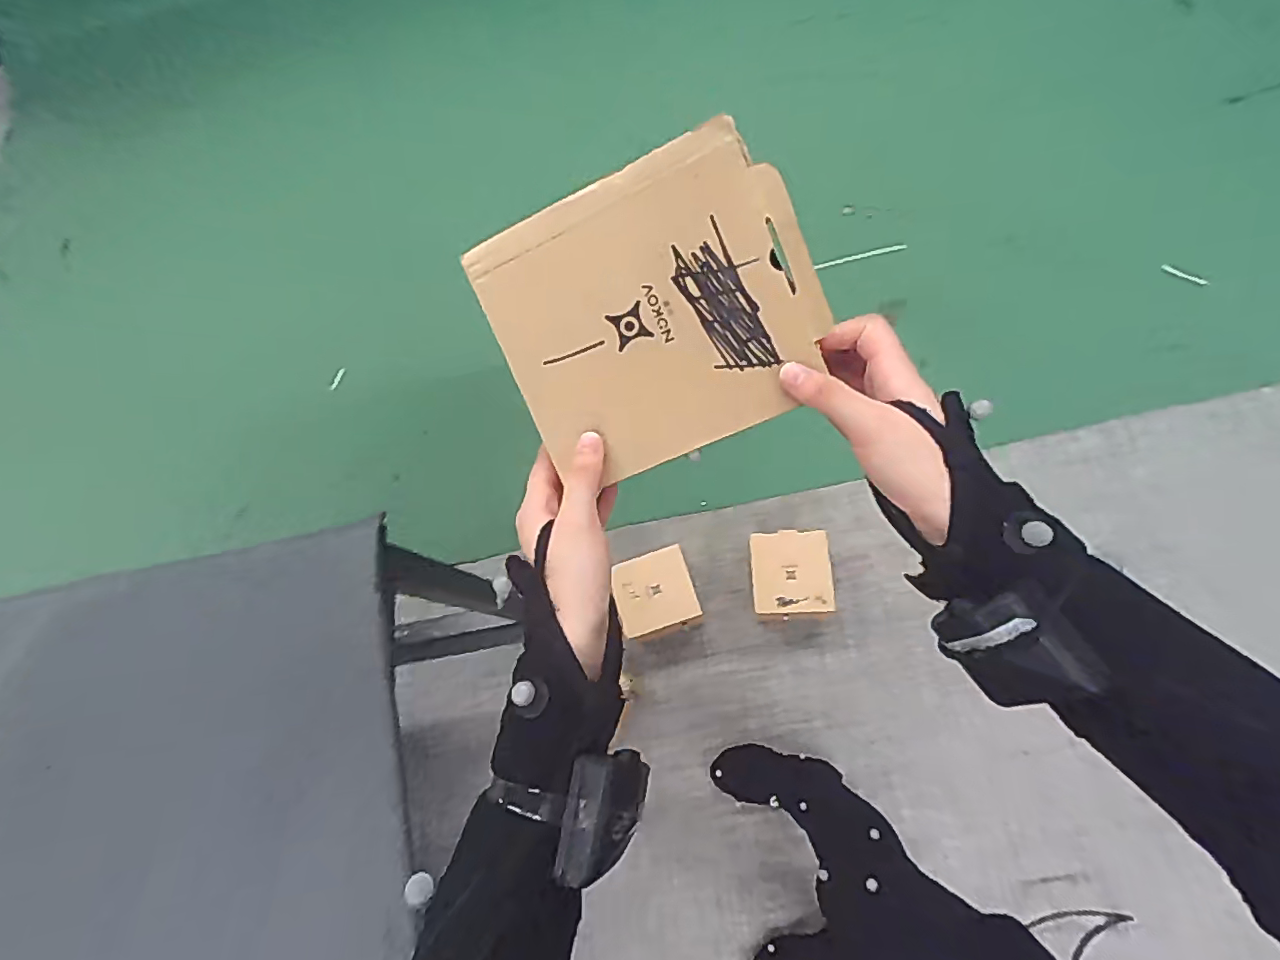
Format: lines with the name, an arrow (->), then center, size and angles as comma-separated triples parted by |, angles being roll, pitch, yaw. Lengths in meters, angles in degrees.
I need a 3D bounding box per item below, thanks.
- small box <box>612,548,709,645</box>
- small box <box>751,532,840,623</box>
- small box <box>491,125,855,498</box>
small box -> 0.053, 0.275, 1.255 | 0.179, 0.176, 0.168 | -20, 68, 3
small box -> 0.343, 0.225, 1.222 | 0.168, 0.176, 0.179 | -3, 70, 8
small box -> 0.027, -0.106, 0.396 | 0.179, 0.176, 0.168 | -21, 96, 11
